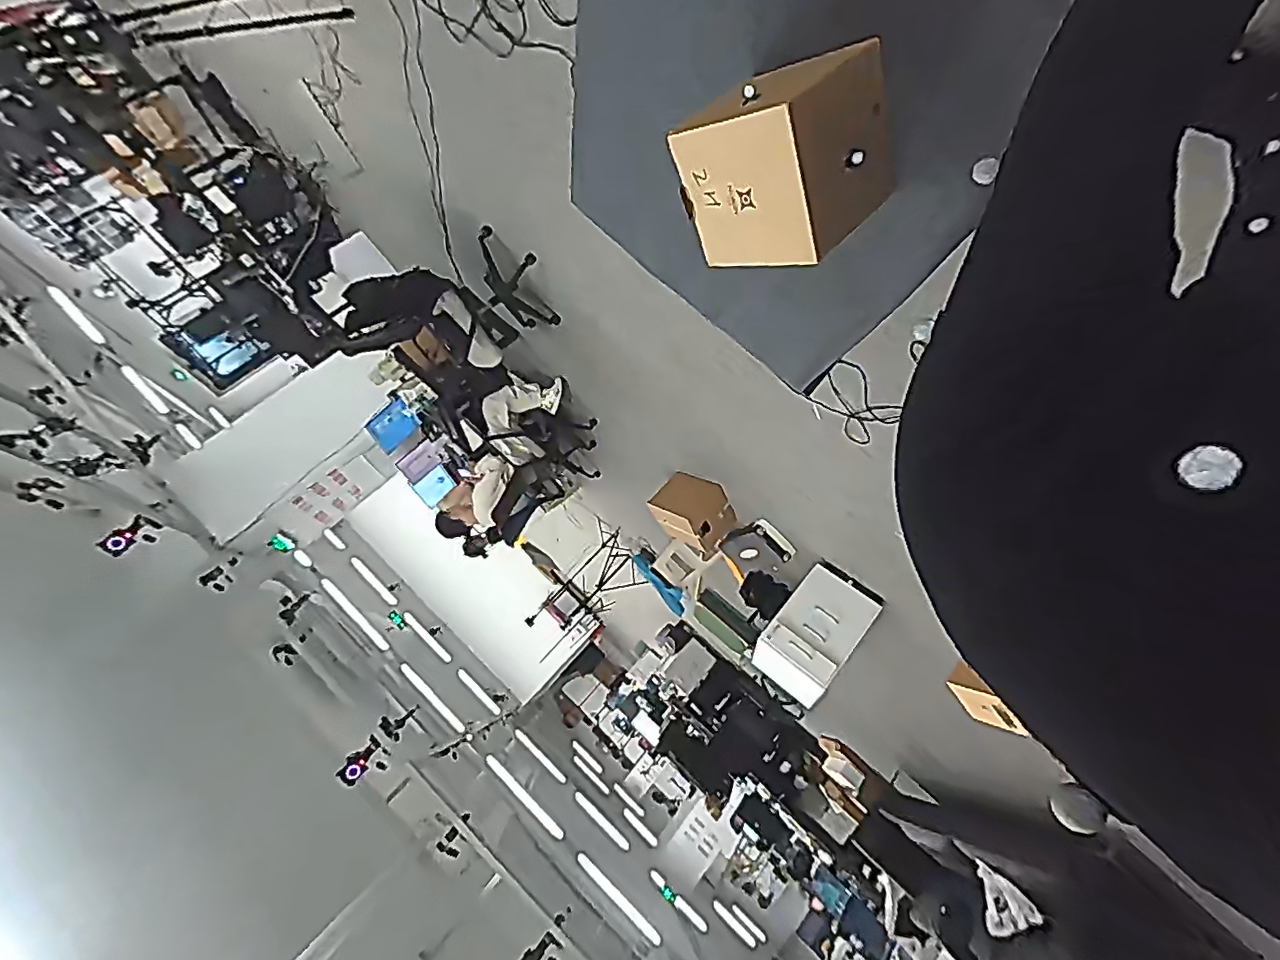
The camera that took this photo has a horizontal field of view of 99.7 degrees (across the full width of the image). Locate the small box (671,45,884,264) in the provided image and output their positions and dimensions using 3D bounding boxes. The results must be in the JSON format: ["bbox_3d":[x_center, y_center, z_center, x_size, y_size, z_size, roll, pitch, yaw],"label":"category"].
[{"bbox_3d":[0.174,-0.381,0.652,0.179,0.176,0.168,24,151,46],"label":"small box"}]
